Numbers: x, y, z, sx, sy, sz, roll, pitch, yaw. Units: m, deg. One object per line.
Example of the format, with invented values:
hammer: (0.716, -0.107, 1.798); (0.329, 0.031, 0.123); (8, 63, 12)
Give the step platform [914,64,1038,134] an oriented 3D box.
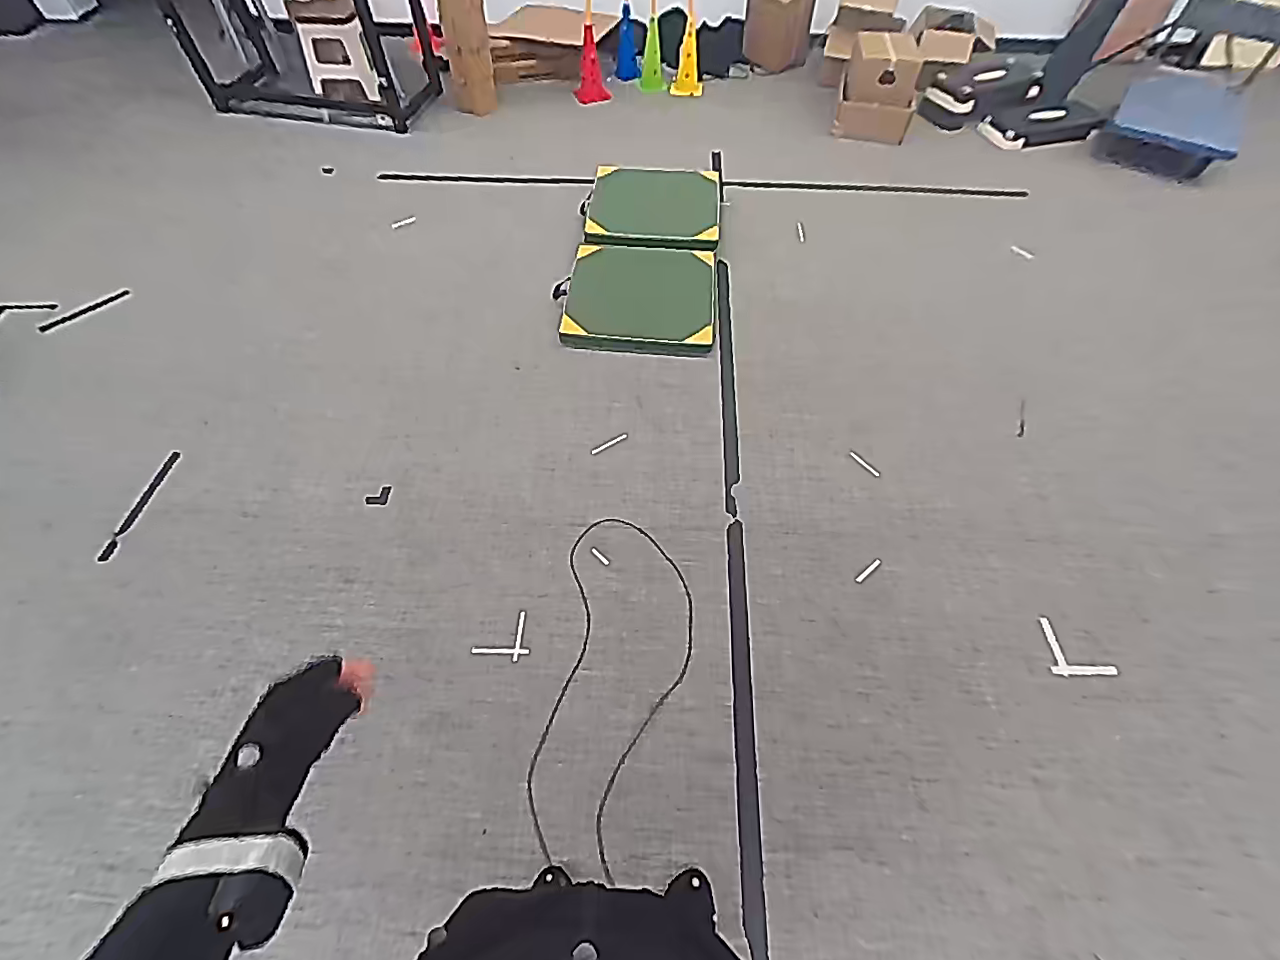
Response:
step platform: (2.017, -2.290, 3.240); (0.684, 0.204, 0.286); (-22, 59, -15)
